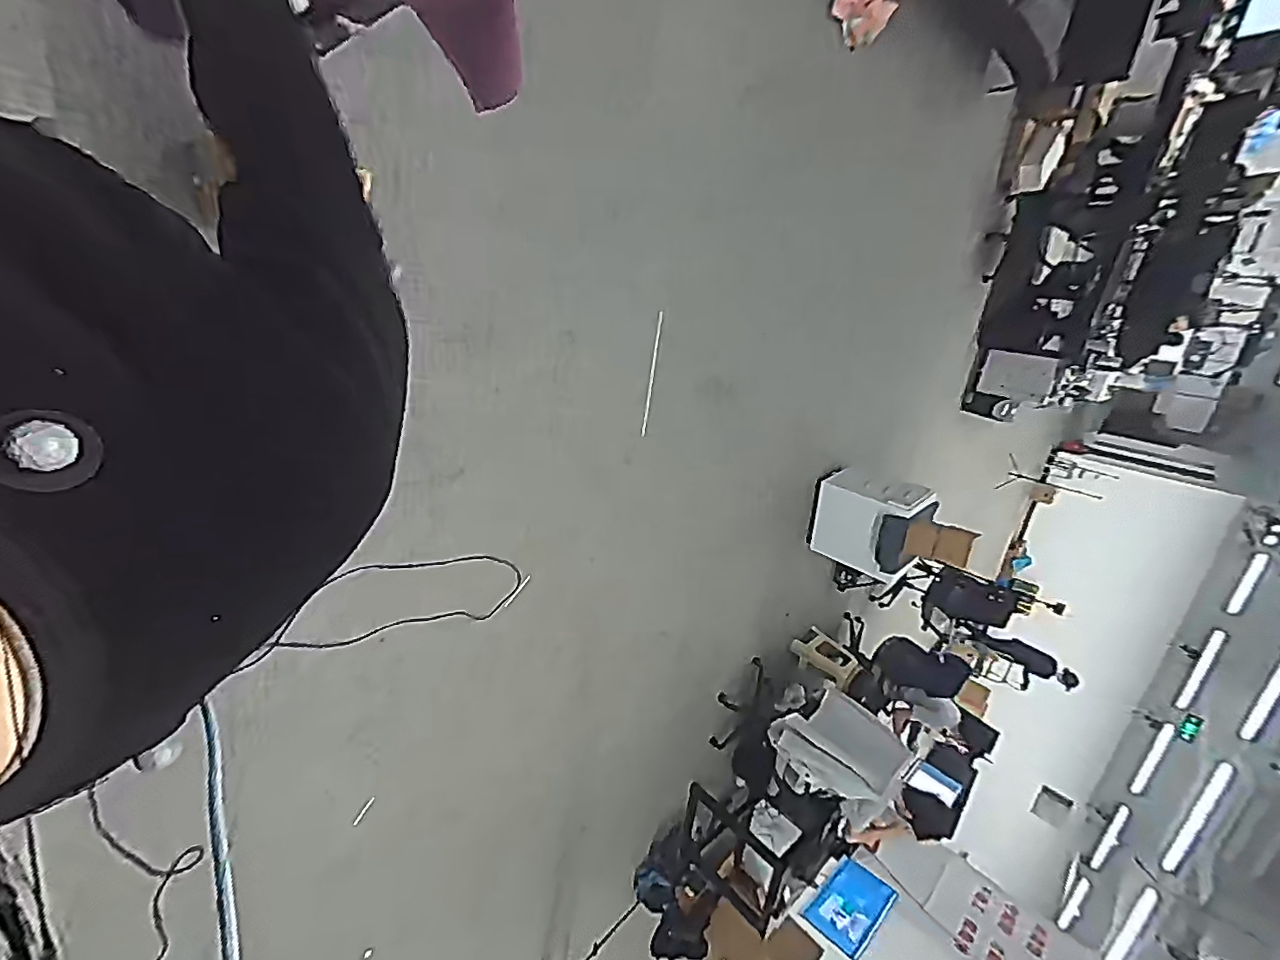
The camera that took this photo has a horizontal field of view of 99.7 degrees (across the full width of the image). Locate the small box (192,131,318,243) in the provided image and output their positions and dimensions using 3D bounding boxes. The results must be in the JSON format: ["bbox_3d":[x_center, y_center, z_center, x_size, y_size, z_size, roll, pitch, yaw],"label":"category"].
[{"bbox_3d":[-0.778,-0.586,1.097,0.179,0.176,0.168,-11,116,-42],"label":"small box"}]
